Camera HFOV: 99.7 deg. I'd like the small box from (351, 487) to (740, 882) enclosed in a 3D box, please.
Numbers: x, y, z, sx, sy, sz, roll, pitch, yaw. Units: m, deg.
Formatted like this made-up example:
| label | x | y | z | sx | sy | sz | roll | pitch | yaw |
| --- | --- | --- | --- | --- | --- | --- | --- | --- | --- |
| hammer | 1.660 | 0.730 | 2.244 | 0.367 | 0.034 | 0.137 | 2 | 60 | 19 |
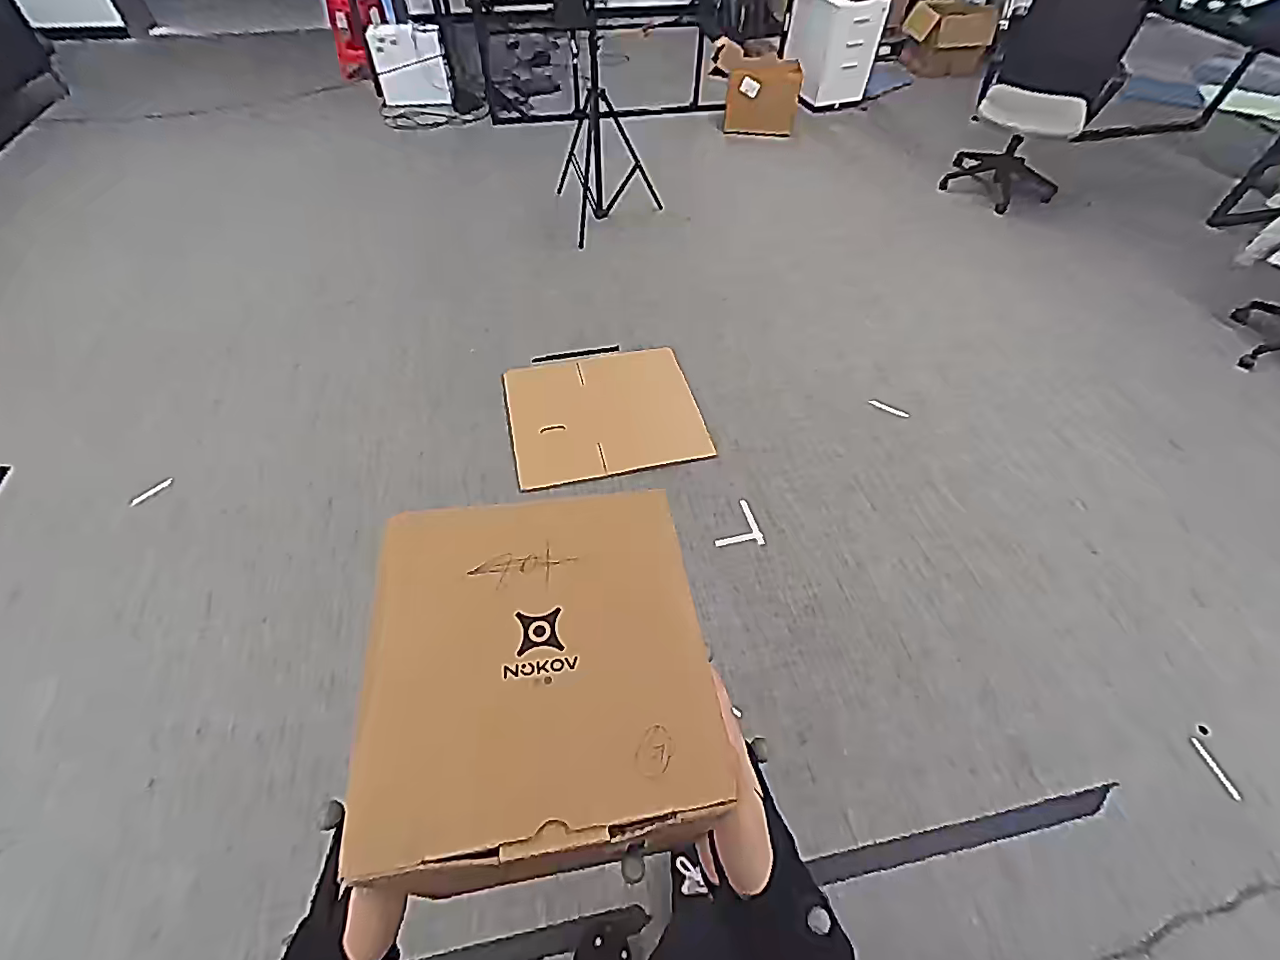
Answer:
| label | x | y | z | sx | sy | sz | roll | pitch | yaw |
| --- | --- | --- | --- | --- | --- | --- | --- | --- | --- |
| small box | -0.055 | 0.129 | 0.335 | 0.168 | 0.176 | 0.179 | -5 | 51 | -11 |
